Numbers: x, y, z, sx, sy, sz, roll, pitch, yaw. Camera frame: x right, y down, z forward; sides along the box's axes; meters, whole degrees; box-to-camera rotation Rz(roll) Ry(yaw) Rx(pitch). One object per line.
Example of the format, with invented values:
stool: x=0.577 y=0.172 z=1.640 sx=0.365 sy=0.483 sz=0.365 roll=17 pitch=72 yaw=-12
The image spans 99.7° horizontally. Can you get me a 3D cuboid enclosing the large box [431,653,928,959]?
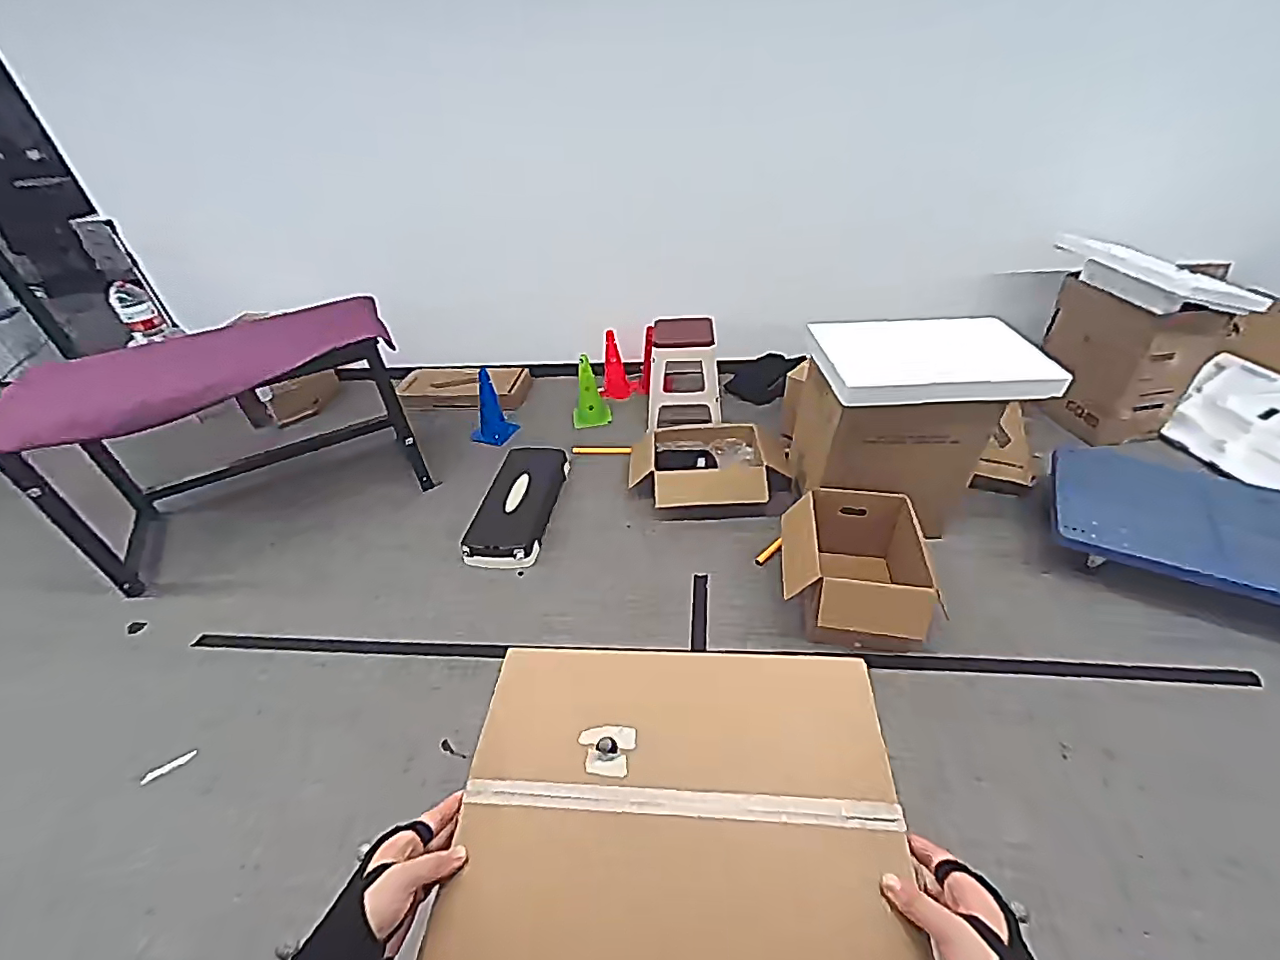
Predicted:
large box: x=0.050 y=0.414 z=0.613 sx=0.408 sy=0.320 sz=0.320 roll=-2 pitch=41 yaw=8
